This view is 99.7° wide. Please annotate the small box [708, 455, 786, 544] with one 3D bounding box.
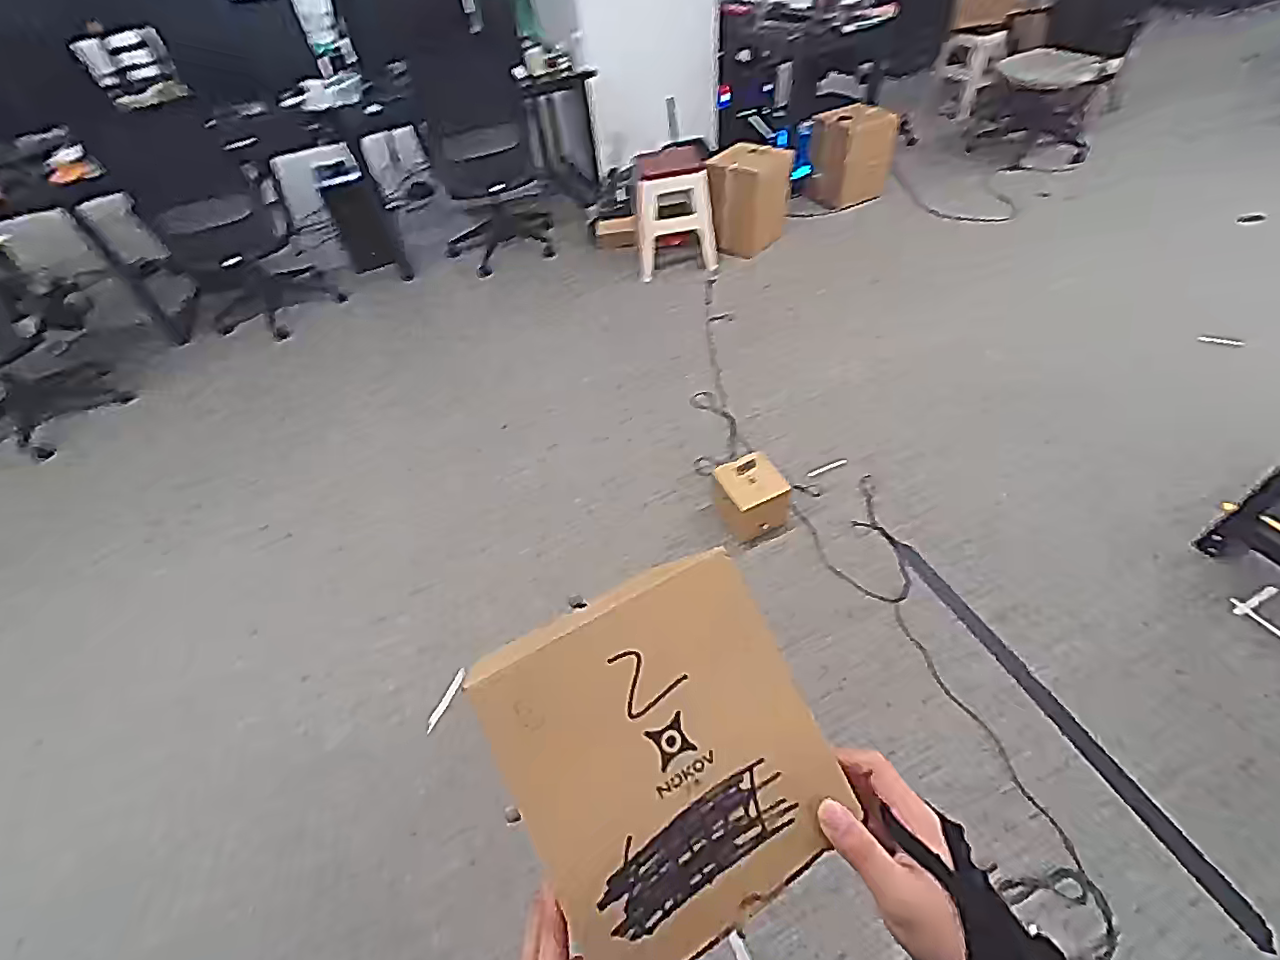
[{"bbox_3d":[0.315,0.061,1.631,0.168,0.176,0.179,-23,50,-12],"label":"small box"}]
